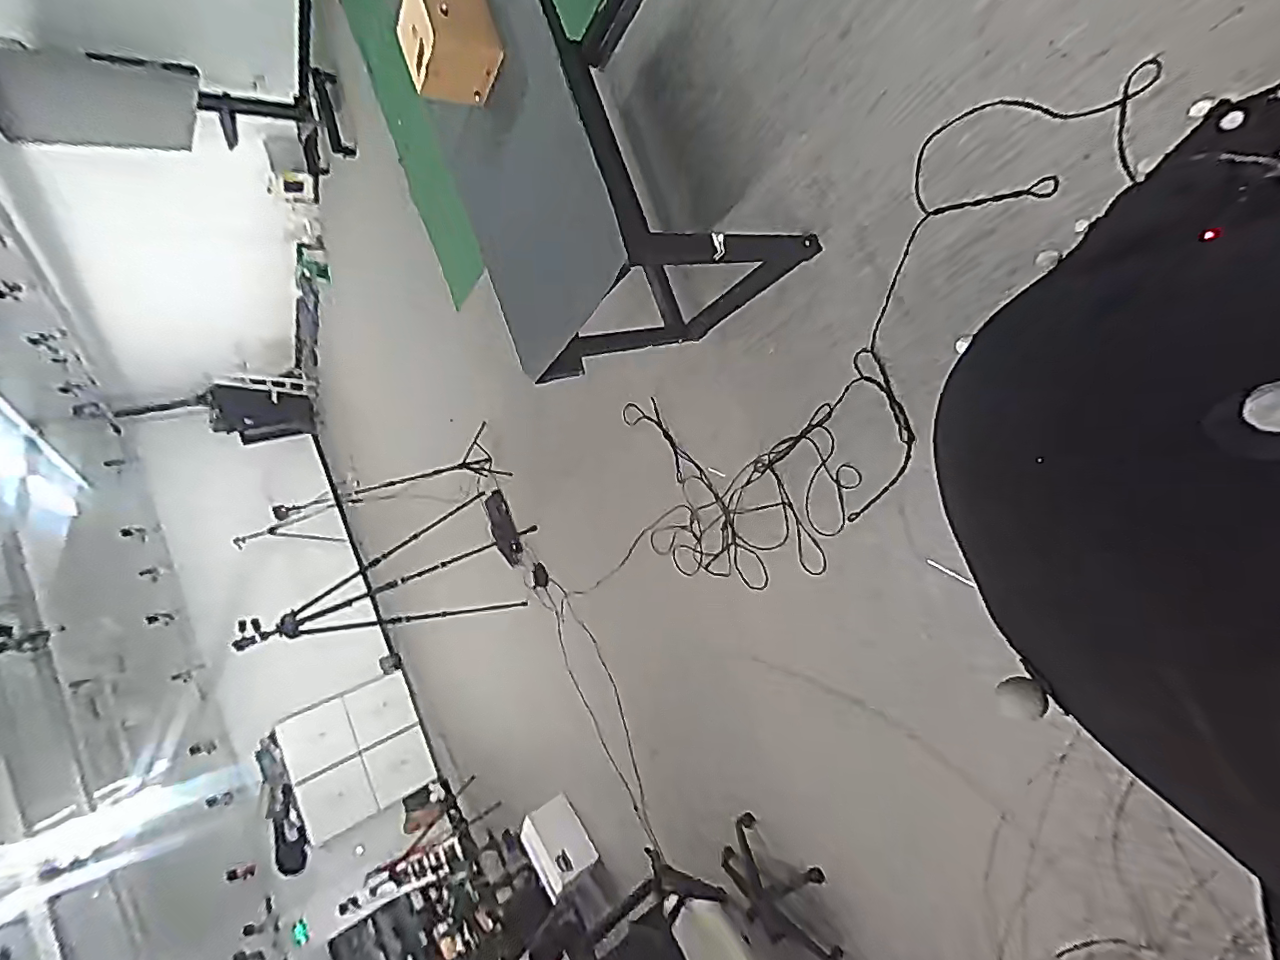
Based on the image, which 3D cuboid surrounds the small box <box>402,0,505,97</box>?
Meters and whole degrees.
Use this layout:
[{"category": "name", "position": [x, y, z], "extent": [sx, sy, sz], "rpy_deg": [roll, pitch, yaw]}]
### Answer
[{"category": "small box", "position": [-0.444, -1.058, 1.293], "extent": [0.168, 0.176, 0.179], "rpy_deg": [-22, 86, 54]}]
